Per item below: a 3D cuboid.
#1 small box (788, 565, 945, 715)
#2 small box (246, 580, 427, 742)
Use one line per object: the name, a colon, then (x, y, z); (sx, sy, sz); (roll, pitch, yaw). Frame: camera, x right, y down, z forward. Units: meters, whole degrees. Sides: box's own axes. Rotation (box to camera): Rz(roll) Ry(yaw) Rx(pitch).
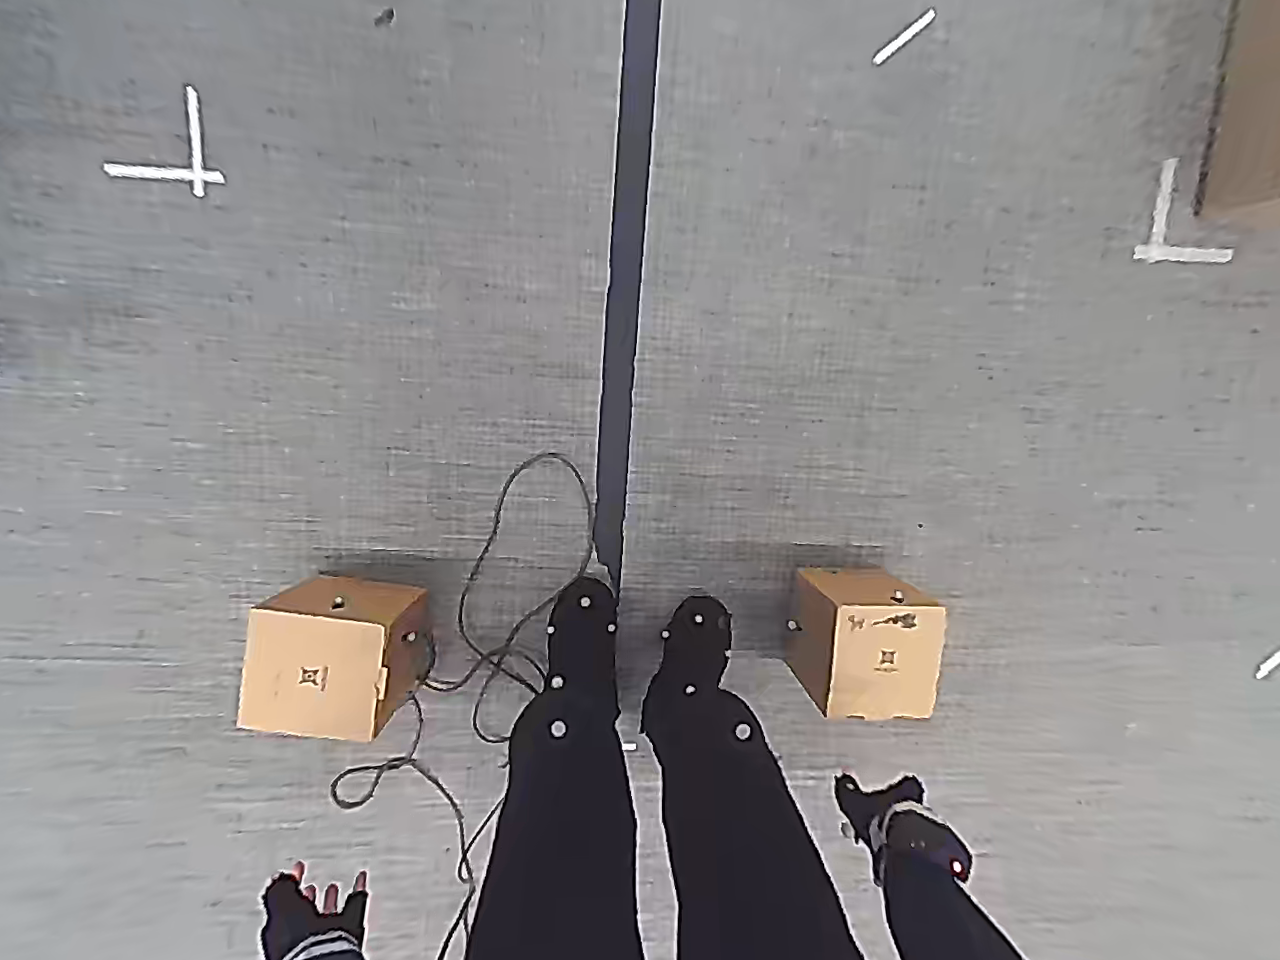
small box: (0.345, 0.247, 0.858); (0.168, 0.176, 0.179); (2, 99, -5)
small box: (-0.430, 0.254, 0.795); (0.179, 0.176, 0.168); (8, 94, -4)
